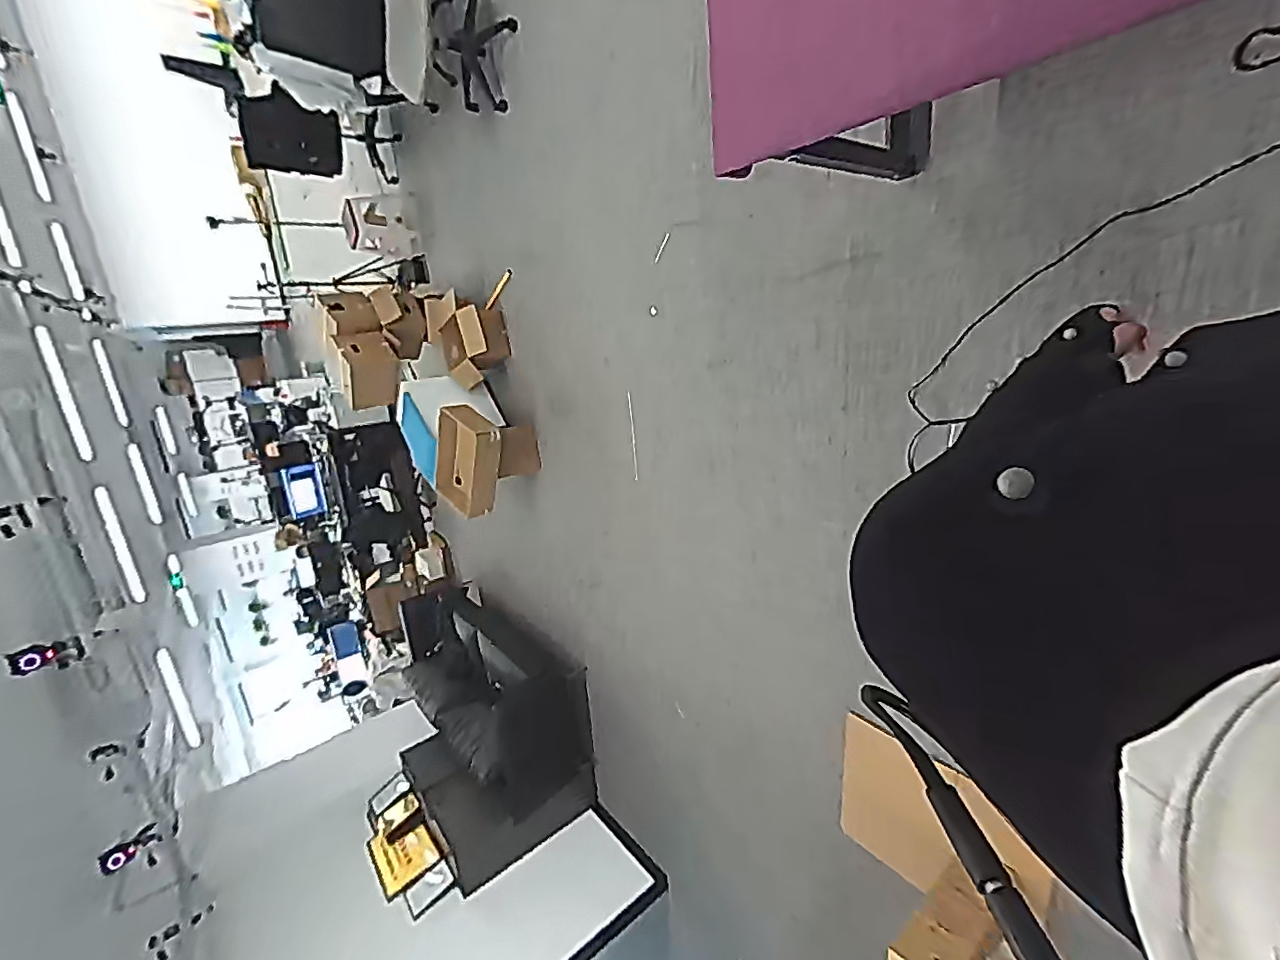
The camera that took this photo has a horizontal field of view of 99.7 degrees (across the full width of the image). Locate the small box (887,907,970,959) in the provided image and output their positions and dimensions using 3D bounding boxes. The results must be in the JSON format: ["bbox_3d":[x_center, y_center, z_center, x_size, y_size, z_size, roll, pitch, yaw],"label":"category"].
[{"bbox_3d":[0.832,1.405,1.562,0.168,0.176,0.179,12,113,50],"label":"small box"}]

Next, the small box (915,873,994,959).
[{"bbox_3d":[0.960,1.366,1.652,0.168,0.176,0.179,11,113,50],"label":"small box"}]

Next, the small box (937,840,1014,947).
[{"bbox_3d":[1.087,1.327,1.748,0.168,0.176,0.179,6,108,52],"label":"small box"}]
